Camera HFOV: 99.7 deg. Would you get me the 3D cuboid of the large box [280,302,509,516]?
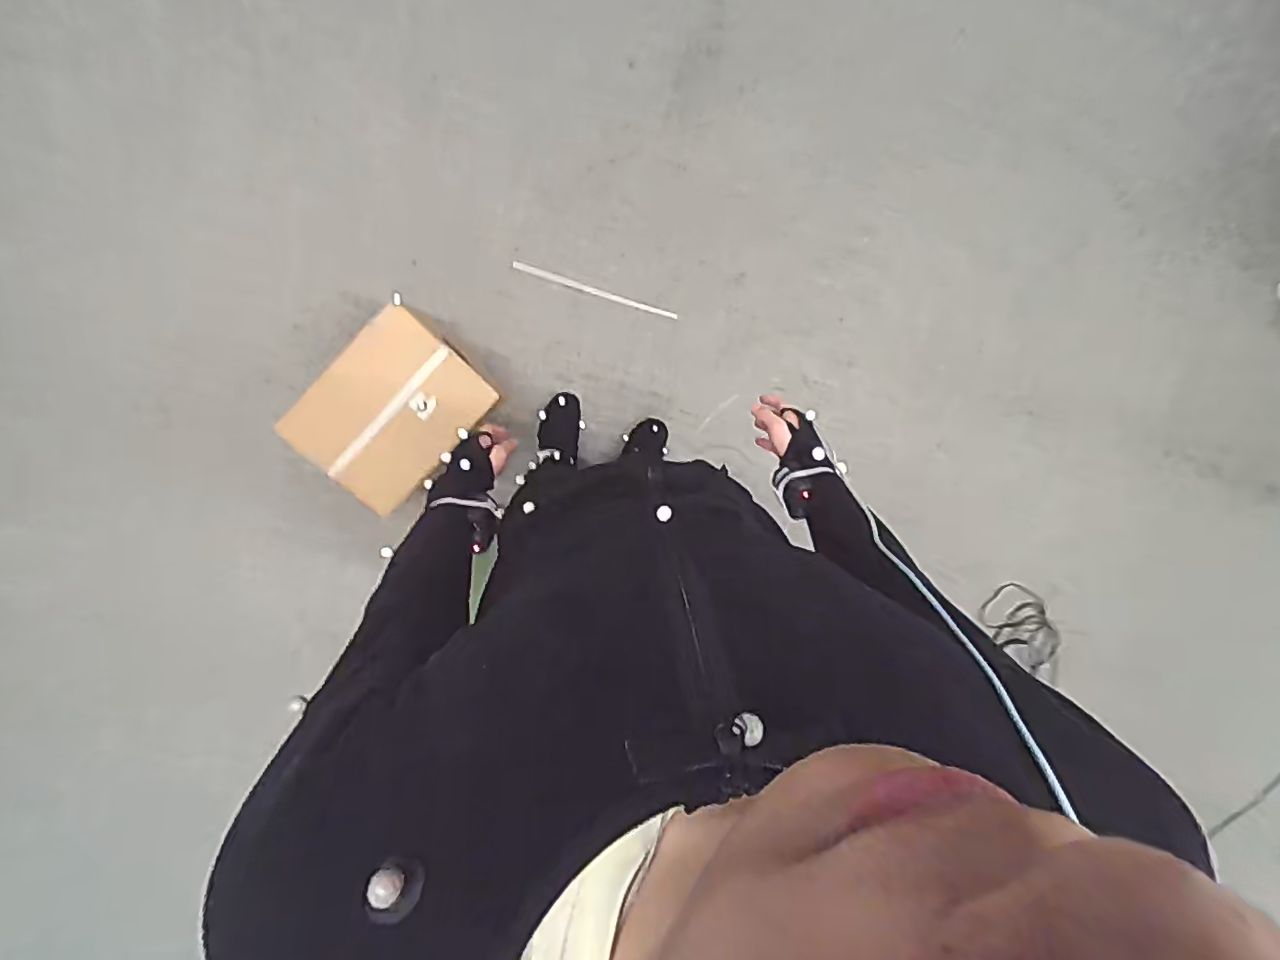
[{"bbox_3d":[-0.596,-0.179,1.390,0.320,0.320,0.408,43,91,-13],"label":"large box"}]
